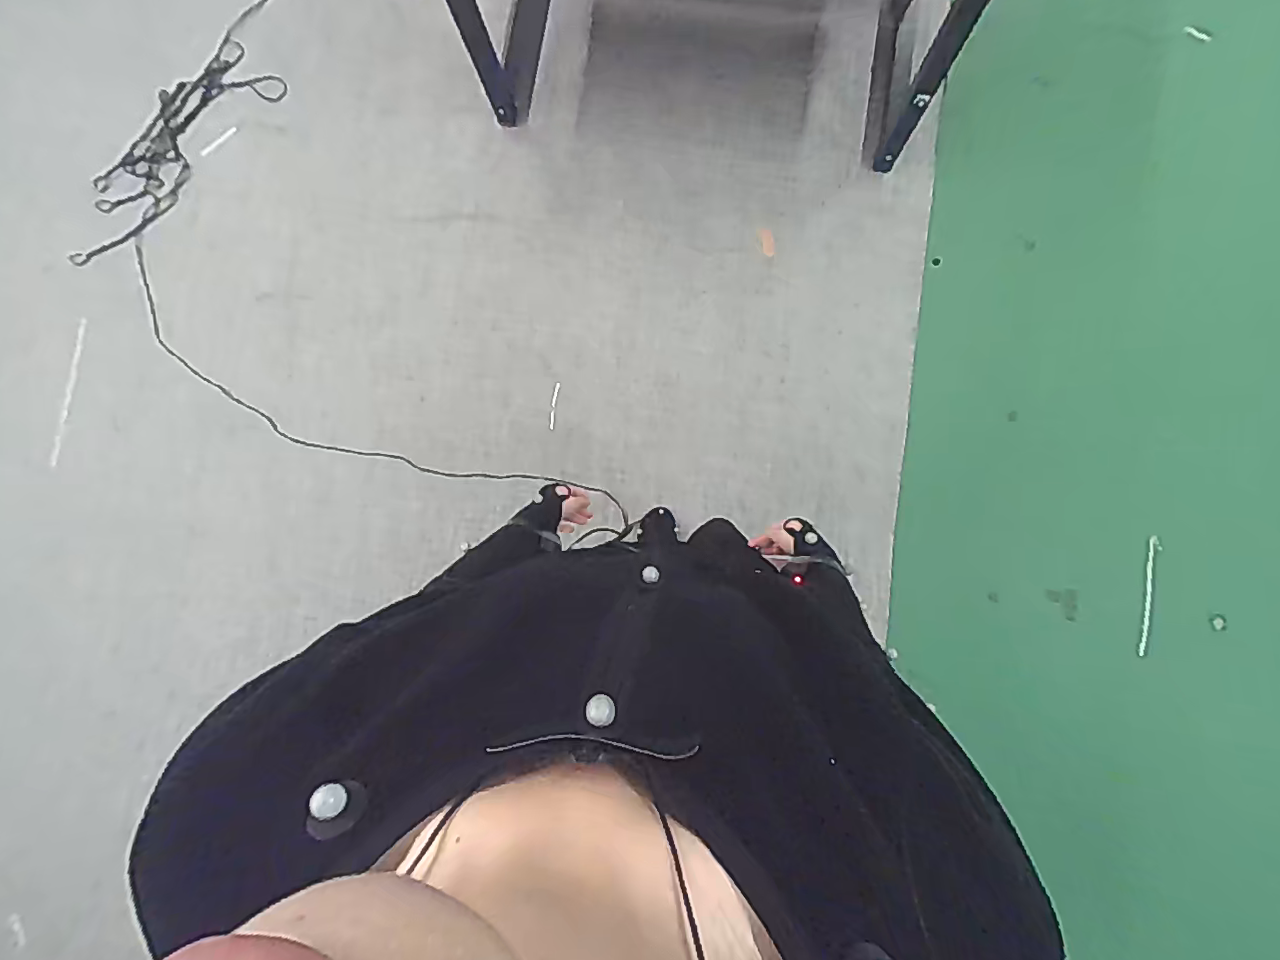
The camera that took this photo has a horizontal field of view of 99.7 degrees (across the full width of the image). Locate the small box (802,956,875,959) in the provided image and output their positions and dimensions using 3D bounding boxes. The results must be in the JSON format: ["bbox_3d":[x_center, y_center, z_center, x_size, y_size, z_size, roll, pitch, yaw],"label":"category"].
[{"bbox_3d":[0.328,0.906,0.858,0.179,0.176,0.168,-7,83,3],"label":"small box"}]
